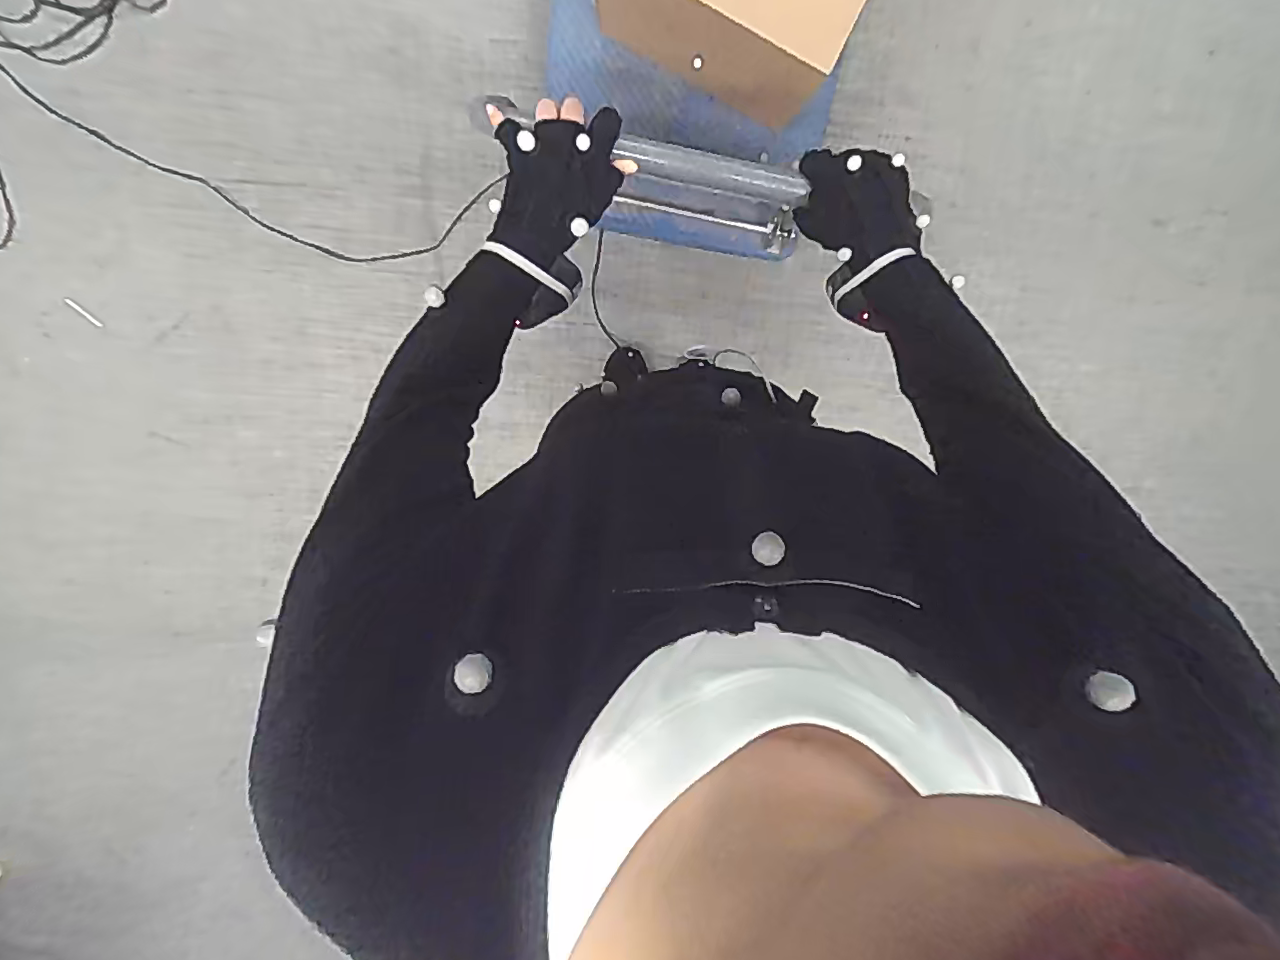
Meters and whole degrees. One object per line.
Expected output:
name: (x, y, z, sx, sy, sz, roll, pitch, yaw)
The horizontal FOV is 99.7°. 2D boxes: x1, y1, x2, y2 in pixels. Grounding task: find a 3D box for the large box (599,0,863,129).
large box: (0.170, -0.872, 0.901, 0.408, 0.320, 0.320, 24, 107, -8)
